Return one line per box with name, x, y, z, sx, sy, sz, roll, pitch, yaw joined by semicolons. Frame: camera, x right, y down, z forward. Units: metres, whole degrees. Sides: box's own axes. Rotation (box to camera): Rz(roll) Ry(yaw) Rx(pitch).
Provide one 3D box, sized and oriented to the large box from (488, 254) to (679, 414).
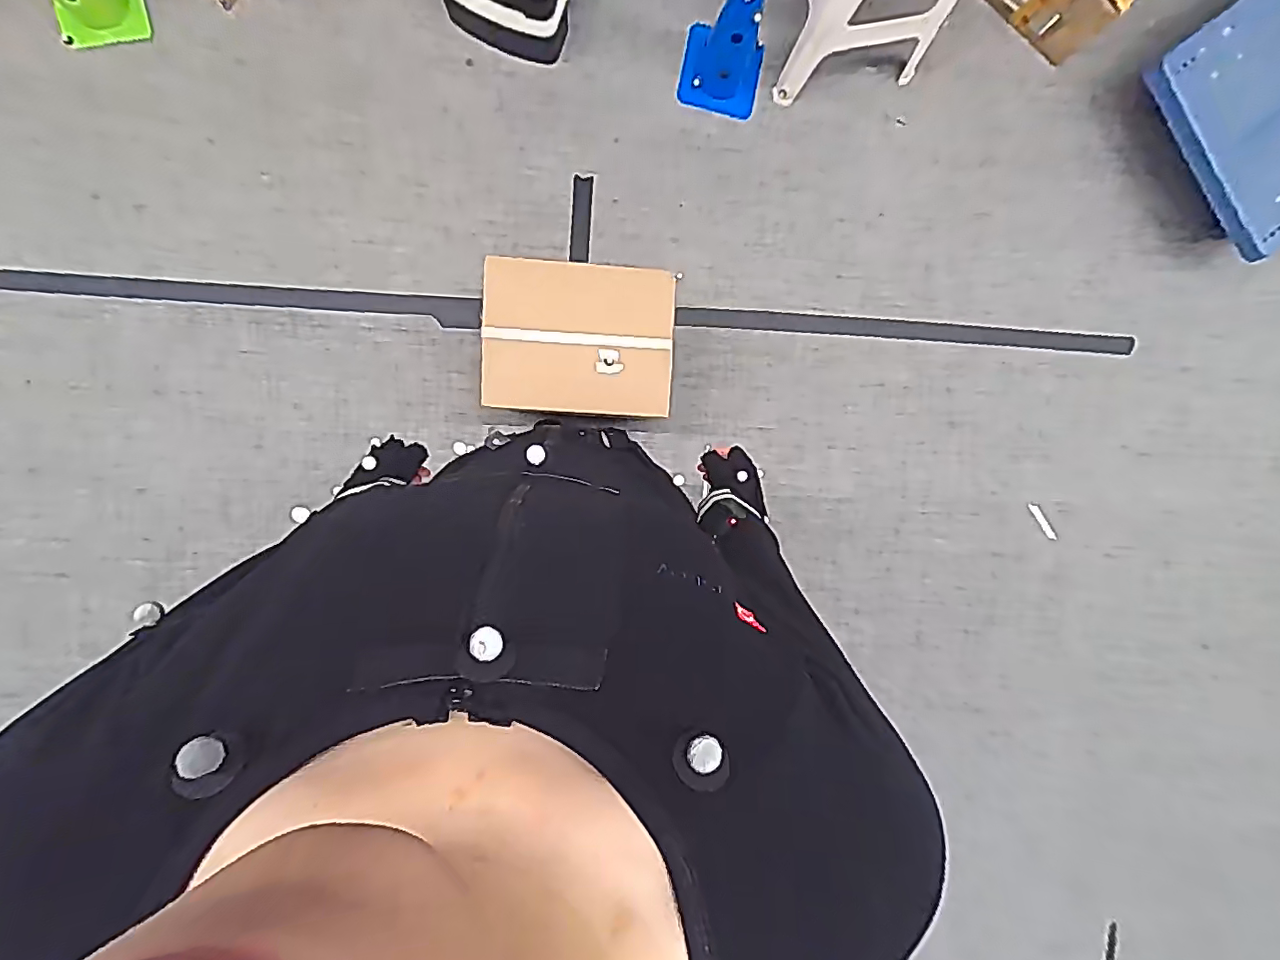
large box;-0.136;-0.324;1.295;0.408;0.320;0.320;2;96;-6
